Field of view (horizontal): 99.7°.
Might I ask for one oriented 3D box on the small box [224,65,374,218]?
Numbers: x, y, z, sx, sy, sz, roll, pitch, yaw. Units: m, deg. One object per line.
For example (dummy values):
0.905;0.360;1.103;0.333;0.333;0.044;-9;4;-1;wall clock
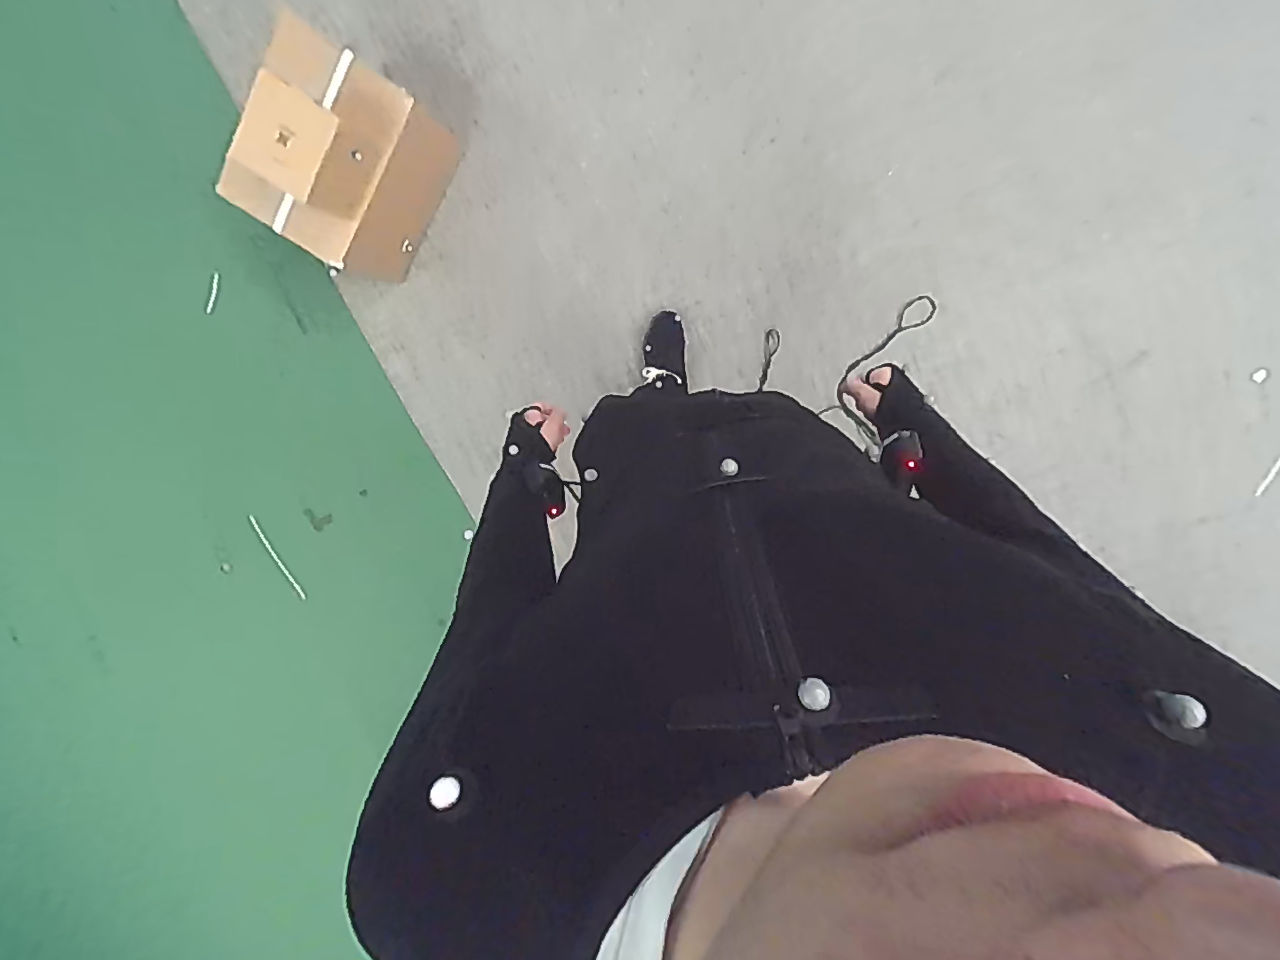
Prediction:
-0.668;-0.662;1.083;0.168;0.176;0.179;32;104;-6;small box
